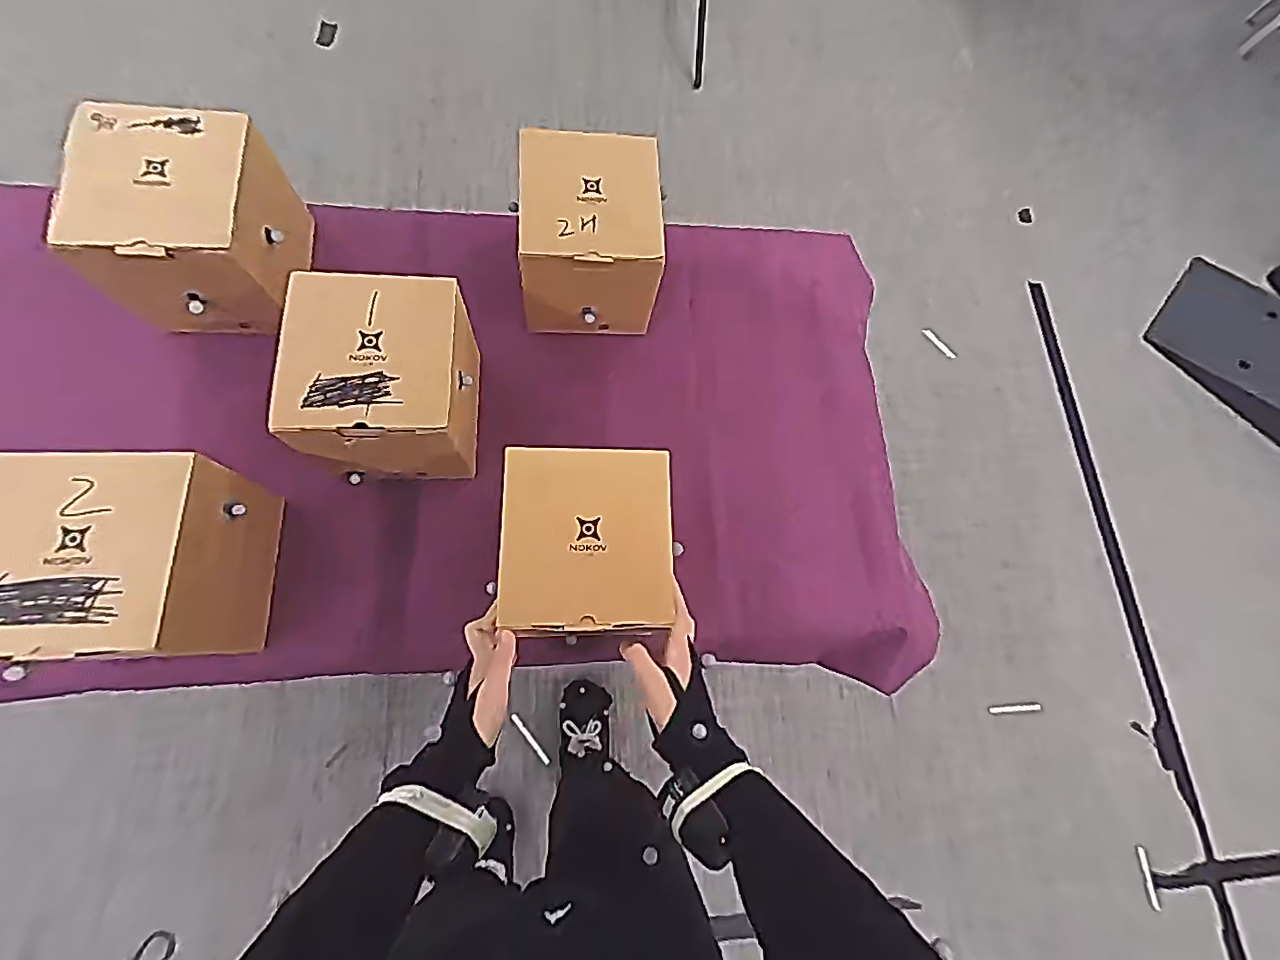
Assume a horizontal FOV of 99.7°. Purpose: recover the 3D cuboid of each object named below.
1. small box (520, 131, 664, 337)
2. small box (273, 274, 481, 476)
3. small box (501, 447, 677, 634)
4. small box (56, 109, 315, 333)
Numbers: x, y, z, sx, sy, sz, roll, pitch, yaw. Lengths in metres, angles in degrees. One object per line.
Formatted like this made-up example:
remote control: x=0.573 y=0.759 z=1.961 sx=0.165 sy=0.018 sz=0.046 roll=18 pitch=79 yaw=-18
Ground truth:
small box: x=-0.067 y=-0.309 z=0.705 sx=0.168 sy=0.176 sz=0.179 roll=-1 pitch=75 yaw=-7
small box: x=-0.280 y=-0.106 z=0.619 sx=0.168 sy=0.176 sz=0.179 roll=0 pitch=73 yaw=-8
small box: x=-0.058 y=0.075 z=0.597 sx=0.168 sy=0.176 sz=0.179 roll=1 pitch=73 yaw=-8
small box: x=-0.509 y=-0.289 z=0.638 sx=0.168 sy=0.176 sz=0.179 roll=-1 pitch=76 yaw=-9
